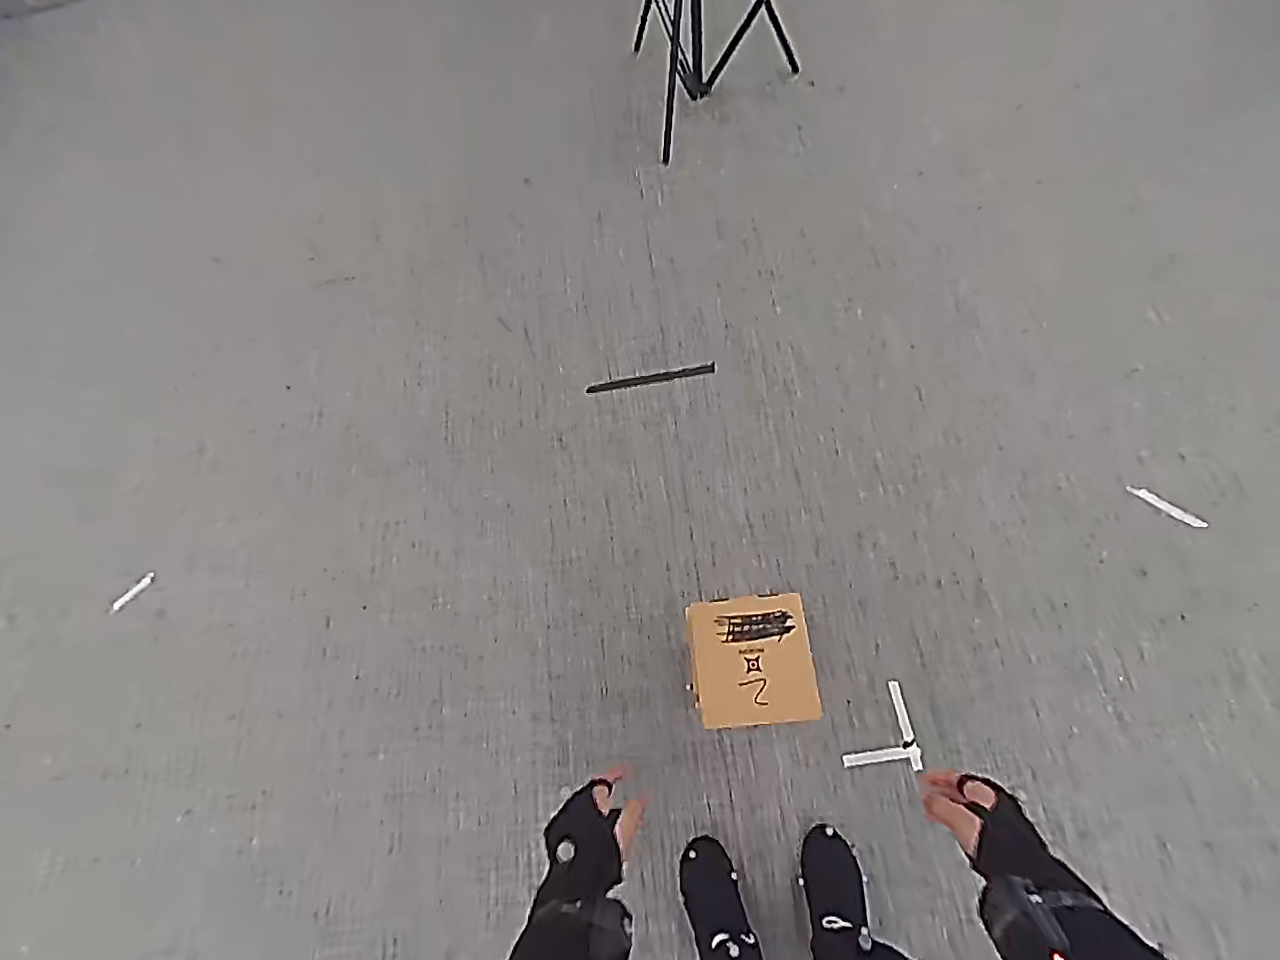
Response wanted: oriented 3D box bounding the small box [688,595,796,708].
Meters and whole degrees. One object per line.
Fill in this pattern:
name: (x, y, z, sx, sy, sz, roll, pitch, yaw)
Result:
small box: (0.177, 0.319, 0.996, 0.168, 0.176, 0.179, -7, 69, 4)
